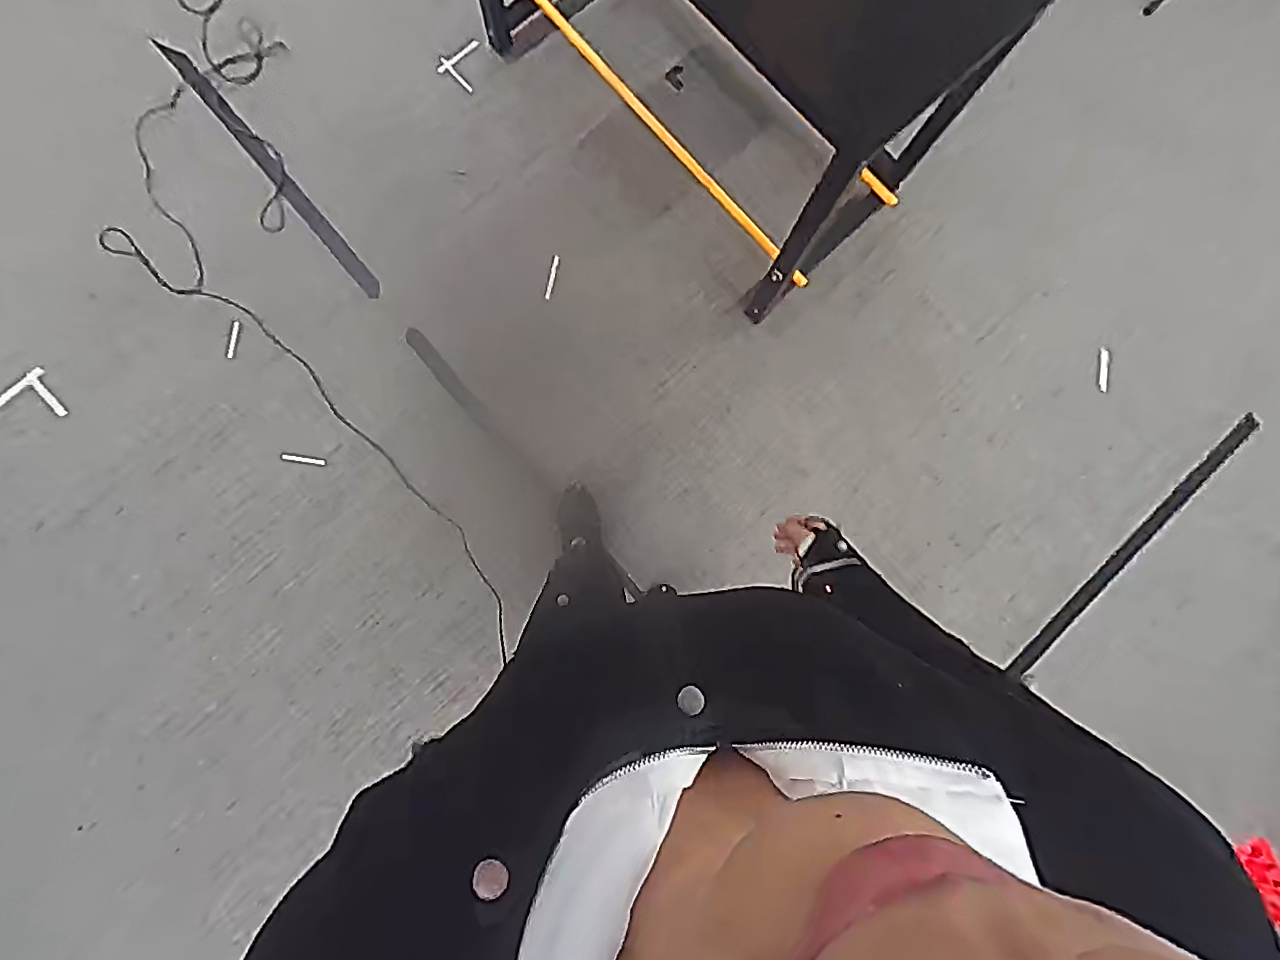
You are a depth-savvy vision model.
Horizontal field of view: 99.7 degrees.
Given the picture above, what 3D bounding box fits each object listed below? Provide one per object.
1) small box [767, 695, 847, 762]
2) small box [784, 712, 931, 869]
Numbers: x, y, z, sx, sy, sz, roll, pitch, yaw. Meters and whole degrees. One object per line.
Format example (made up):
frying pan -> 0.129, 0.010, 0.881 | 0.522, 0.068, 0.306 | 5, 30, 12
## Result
small box -> 0.419, 0.625, 1.229 | 0.168, 0.176, 0.179 | -38, 87, -6
small box -> 0.417, 0.598, 1.068 | 0.168, 0.176, 0.179 | -38, 86, -7
